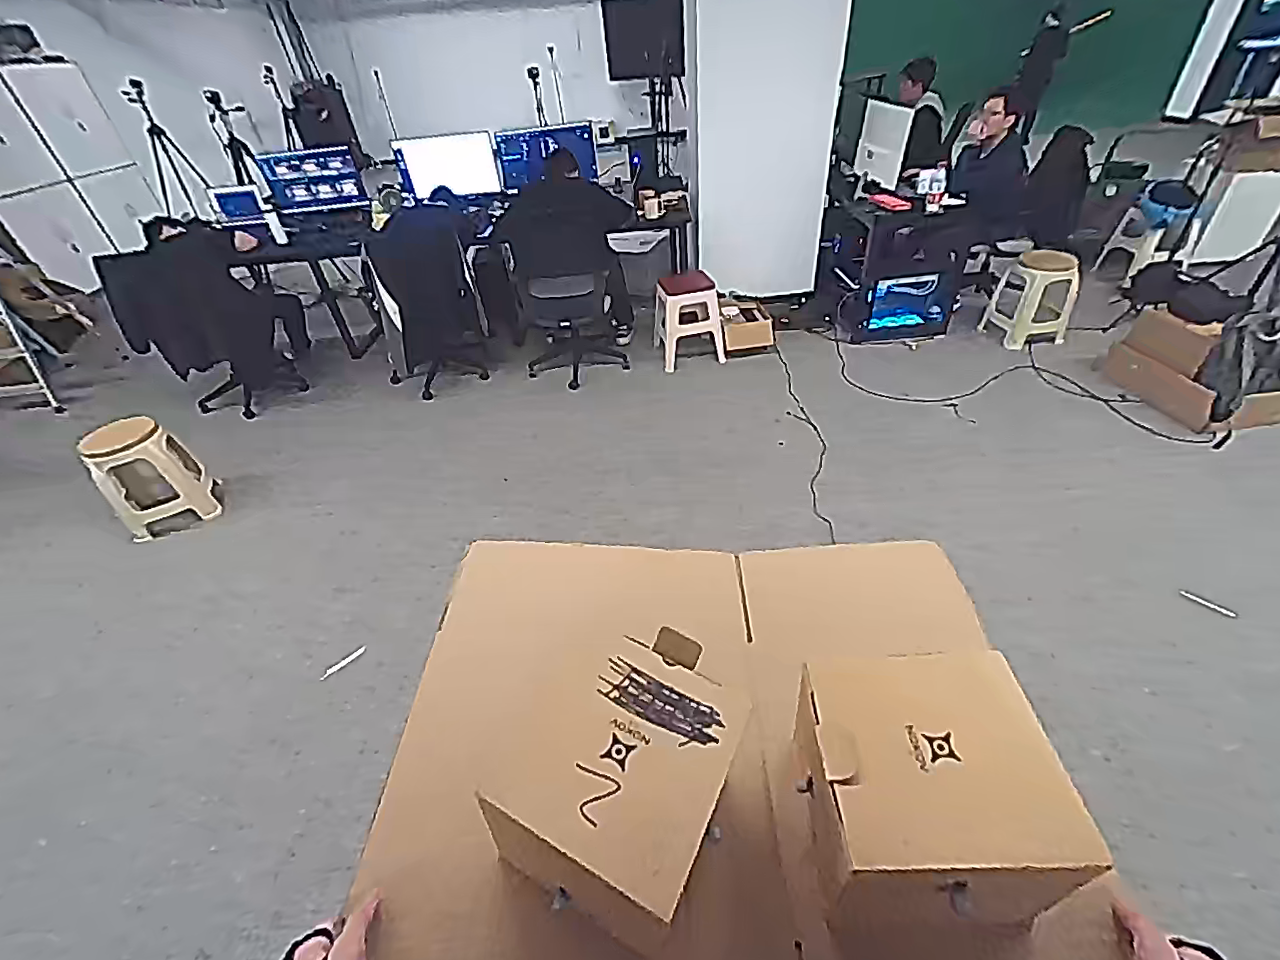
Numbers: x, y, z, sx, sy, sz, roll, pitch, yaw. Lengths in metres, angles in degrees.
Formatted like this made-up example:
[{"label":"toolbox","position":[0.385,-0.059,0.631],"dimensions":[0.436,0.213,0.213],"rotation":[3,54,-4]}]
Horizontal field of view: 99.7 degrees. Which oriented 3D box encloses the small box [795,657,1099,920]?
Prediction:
[{"label":"small box","position":[0.249,0.283,0.497],"dimensions":[0.179,0.176,0.168],"rotation":[-6,41,6]}]
